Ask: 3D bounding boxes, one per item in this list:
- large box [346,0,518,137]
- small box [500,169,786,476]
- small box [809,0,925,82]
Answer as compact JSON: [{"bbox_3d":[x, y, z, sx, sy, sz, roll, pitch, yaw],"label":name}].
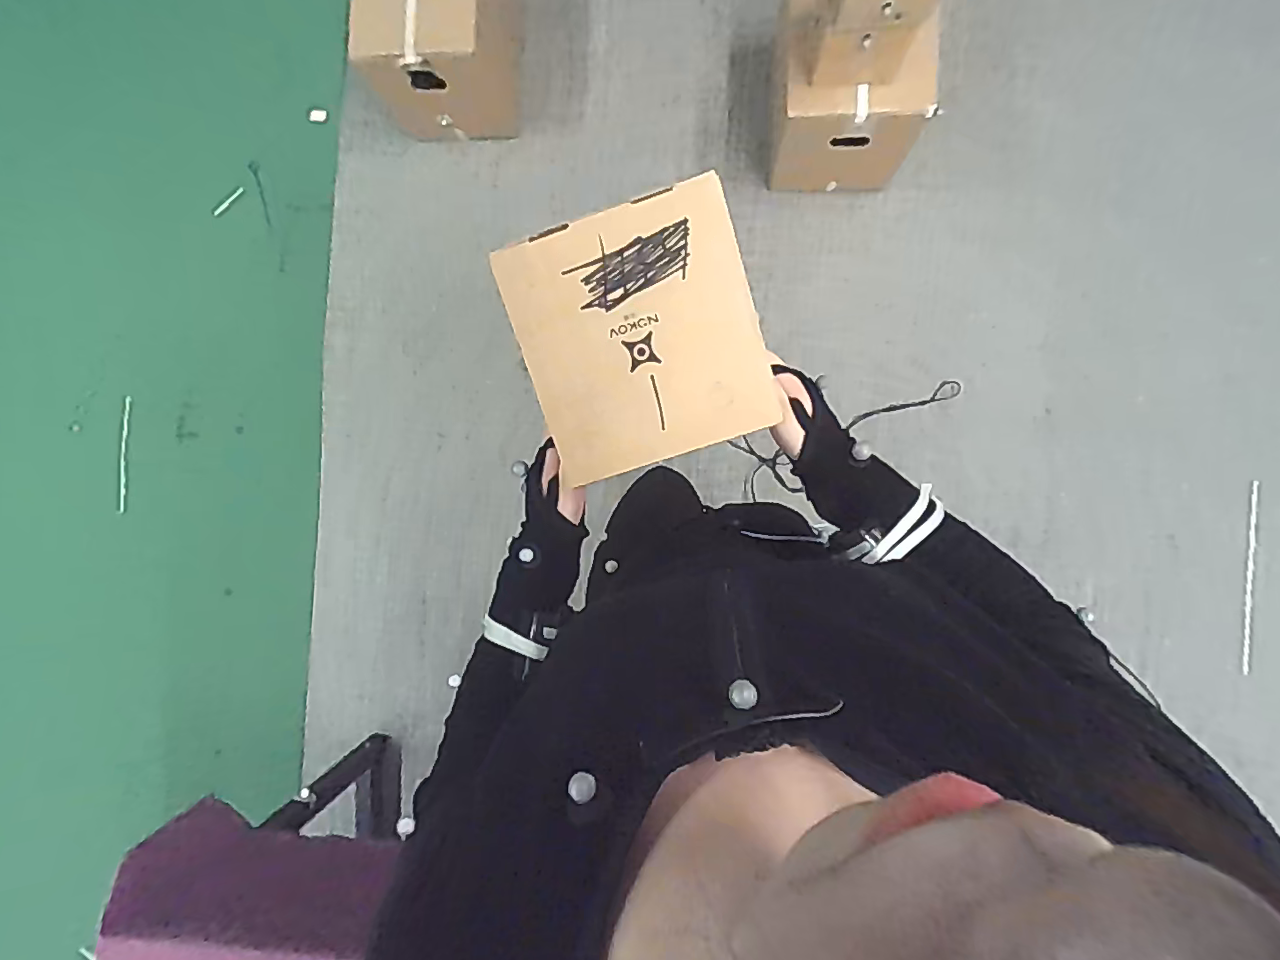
[{"bbox_3d":[-0.517,-1.187,1.401,0.320,0.320,0.408,2,90,6],"label":"large box"},{"bbox_3d":[0.006,-0.119,0.457,0.168,0.176,0.179,-16,101,6],"label":"small box"},{"bbox_3d":[0.440,-0.928,1.064,0.179,0.176,0.168,0,91,8],"label":"small box"}]
